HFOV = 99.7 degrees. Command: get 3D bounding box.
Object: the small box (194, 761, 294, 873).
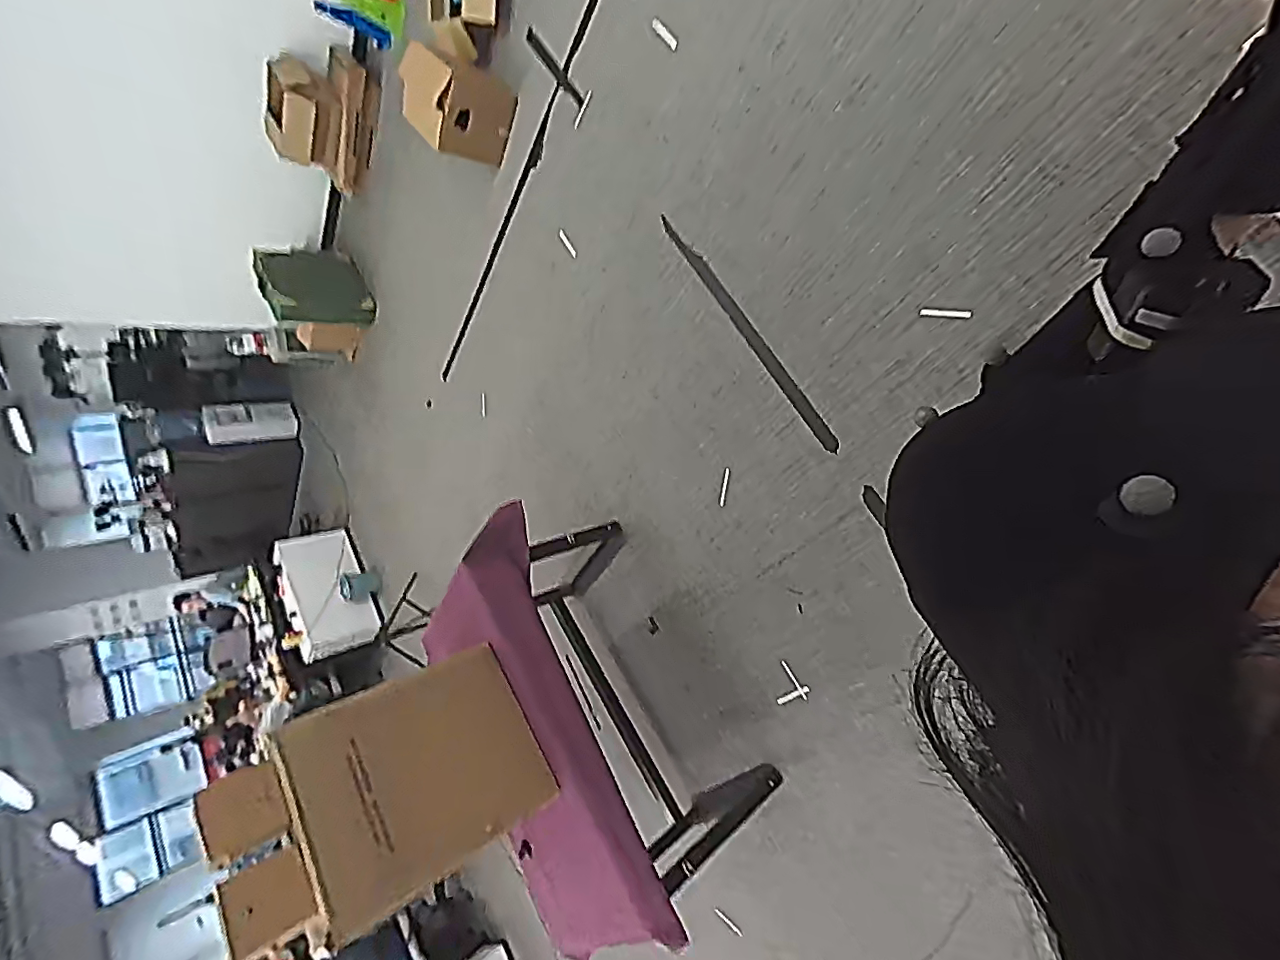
[{"bbox_3d":[-1.006,0.845,1.372,0.179,0.176,0.168,56,132,20],"label":"small box"}]
